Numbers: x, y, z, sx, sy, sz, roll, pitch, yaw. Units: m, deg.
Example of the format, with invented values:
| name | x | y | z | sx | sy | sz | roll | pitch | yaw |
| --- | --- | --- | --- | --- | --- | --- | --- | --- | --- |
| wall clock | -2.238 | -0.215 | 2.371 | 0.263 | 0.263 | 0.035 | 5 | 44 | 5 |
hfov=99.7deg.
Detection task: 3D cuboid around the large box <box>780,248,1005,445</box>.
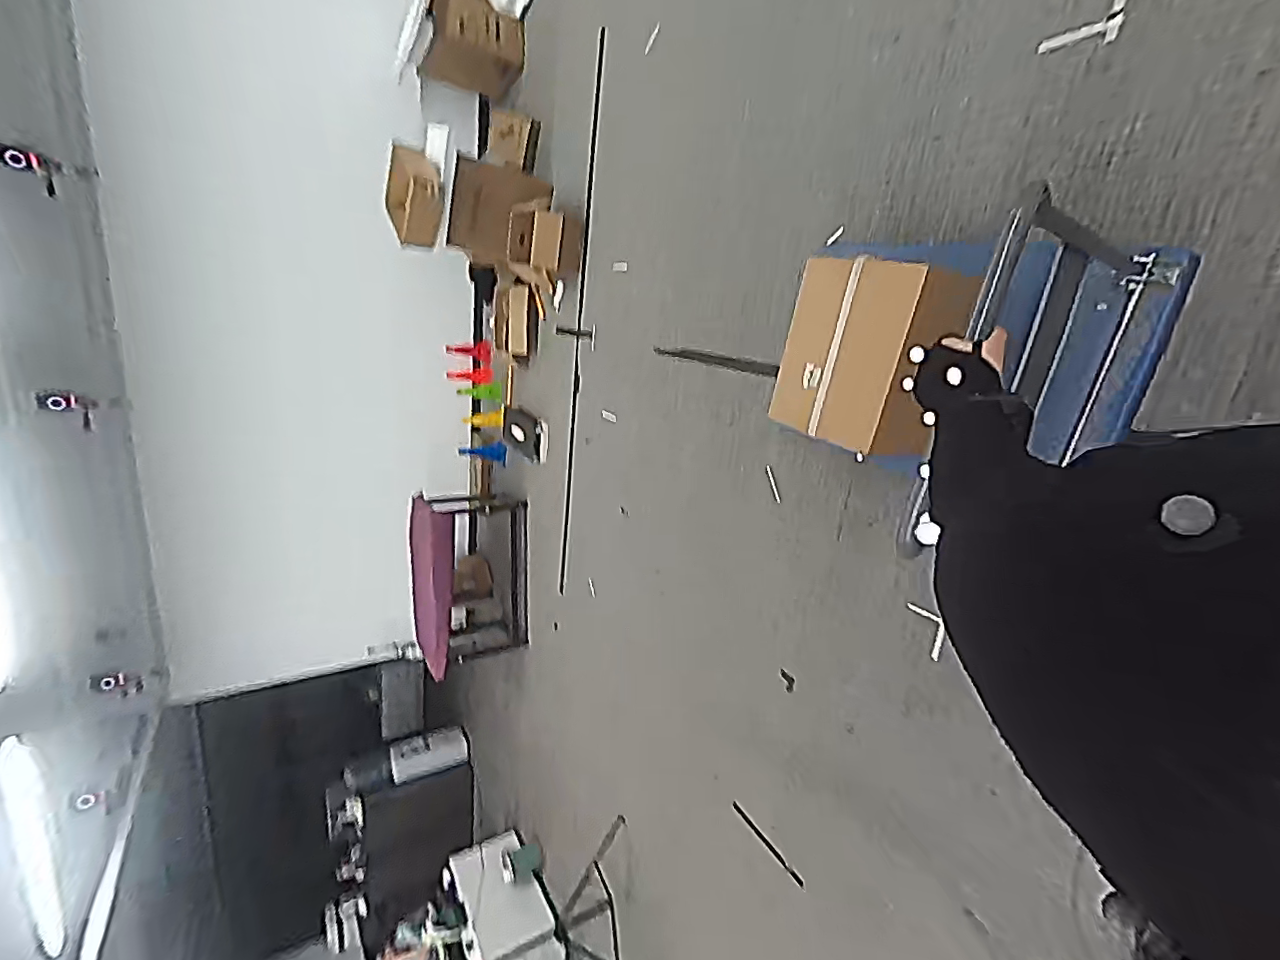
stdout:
| name | x | y | z | sx | sy | sz | roll | pitch | yaw |
| --- | --- | --- | --- | --- | --- | --- | --- | --- | --- |
| large box | 0.598 | -0.326 | 1.316 | 0.320 | 0.320 | 0.408 | 37 | 124 | 51 |
